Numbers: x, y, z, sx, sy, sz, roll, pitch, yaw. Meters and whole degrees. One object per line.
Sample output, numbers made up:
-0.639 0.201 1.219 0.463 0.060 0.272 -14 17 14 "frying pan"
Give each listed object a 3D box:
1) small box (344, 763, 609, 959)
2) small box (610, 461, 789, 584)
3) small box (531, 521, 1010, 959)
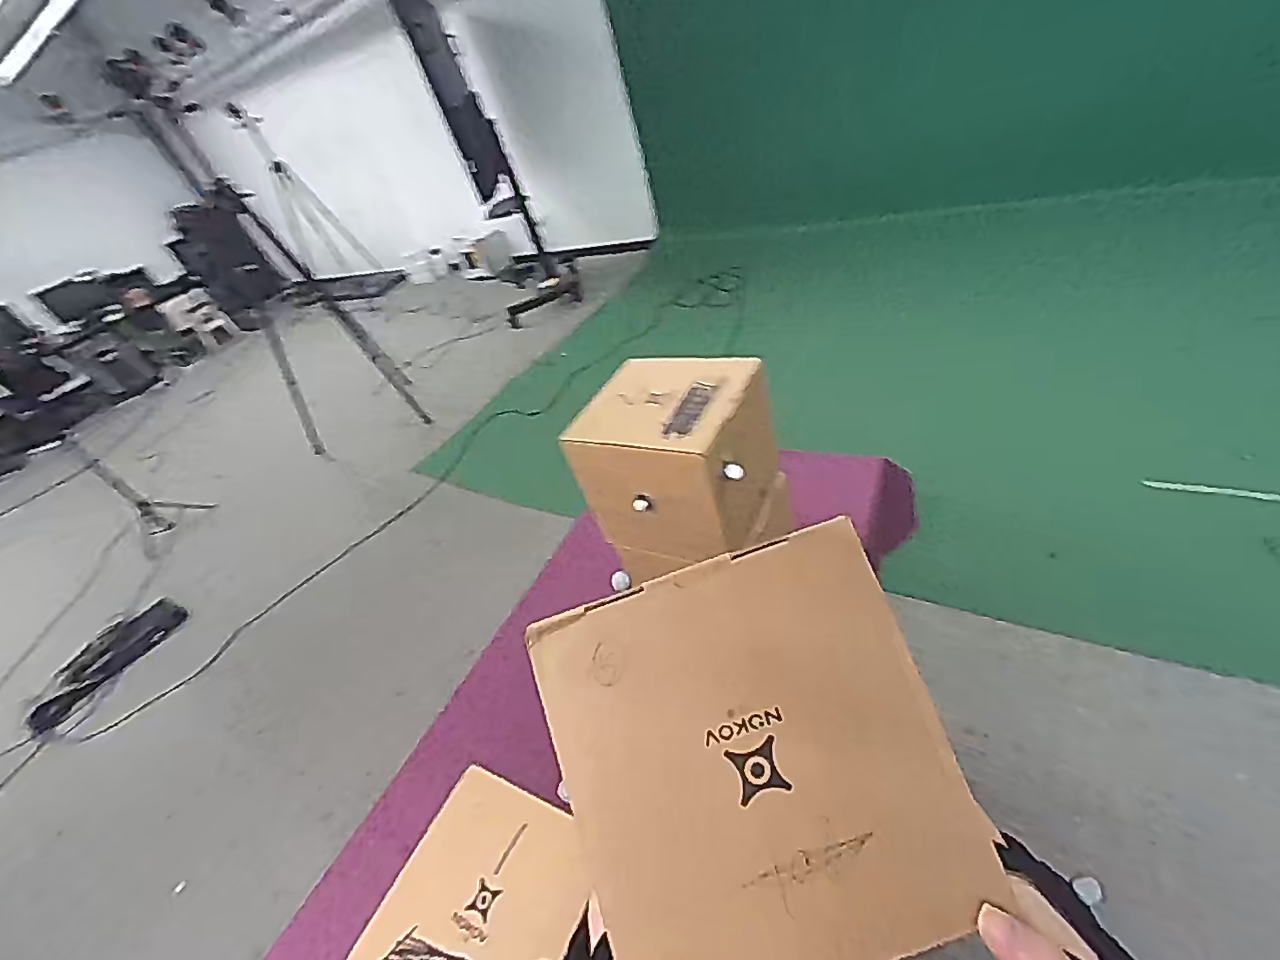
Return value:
-0.106 0.391 0.467 0.168 0.176 0.179 7 45 31 "small box"
0.092 0.095 0.733 0.179 0.176 0.168 8 46 31 "small box"
0.053 0.141 0.316 0.168 0.176 0.179 -18 77 0 "small box"
